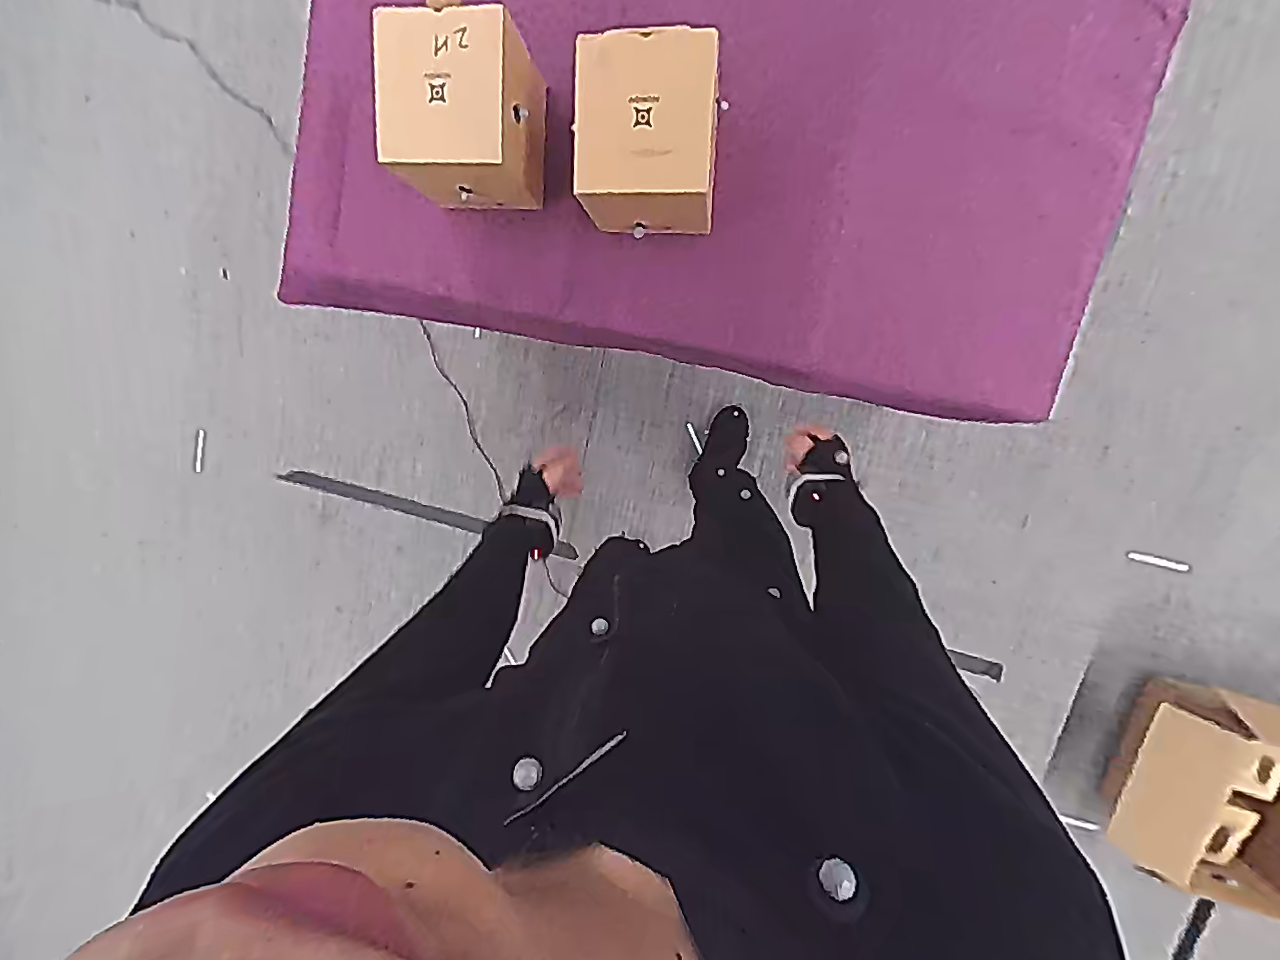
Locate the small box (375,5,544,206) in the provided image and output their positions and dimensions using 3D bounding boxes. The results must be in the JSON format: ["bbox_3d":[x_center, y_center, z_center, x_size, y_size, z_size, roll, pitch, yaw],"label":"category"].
[{"bbox_3d":[-0.233,-0.491,0.734,0.168,0.176,0.179,5,99,6],"label":"small box"}]

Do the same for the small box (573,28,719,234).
[{"bbox_3d":[0.014,-0.442,0.711,0.168,0.176,0.179,4,99,7],"label":"small box"}]
